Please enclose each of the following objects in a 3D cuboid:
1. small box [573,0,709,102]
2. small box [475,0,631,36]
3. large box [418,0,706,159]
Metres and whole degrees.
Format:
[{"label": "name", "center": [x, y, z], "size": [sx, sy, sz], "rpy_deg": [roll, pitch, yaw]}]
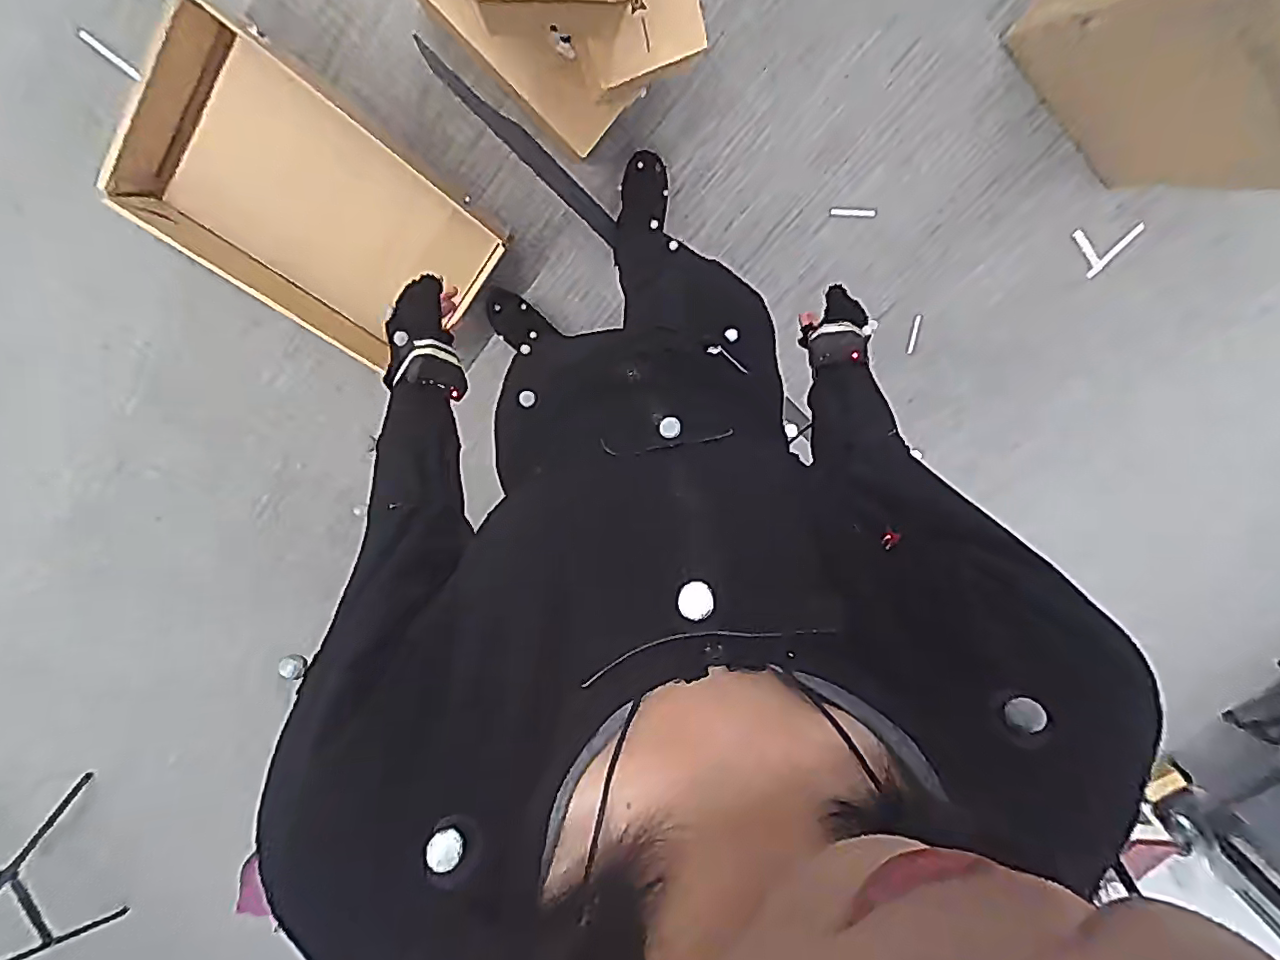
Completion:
[{"label": "small box", "center": [-0.016, -0.690, 0.793], "size": [0.168, 0.176, 0.179], "rpy_deg": [-20, 120, 2]}, {"label": "small box", "center": [-0.108, -0.635, 0.621], "size": [0.179, 0.176, 0.168], "rpy_deg": [-5, 119, -7]}, {"label": "large box", "center": [-0.159, -0.854, 0.961], "size": [0.408, 0.320, 0.320], "rpy_deg": [36, 109, -26]}]
